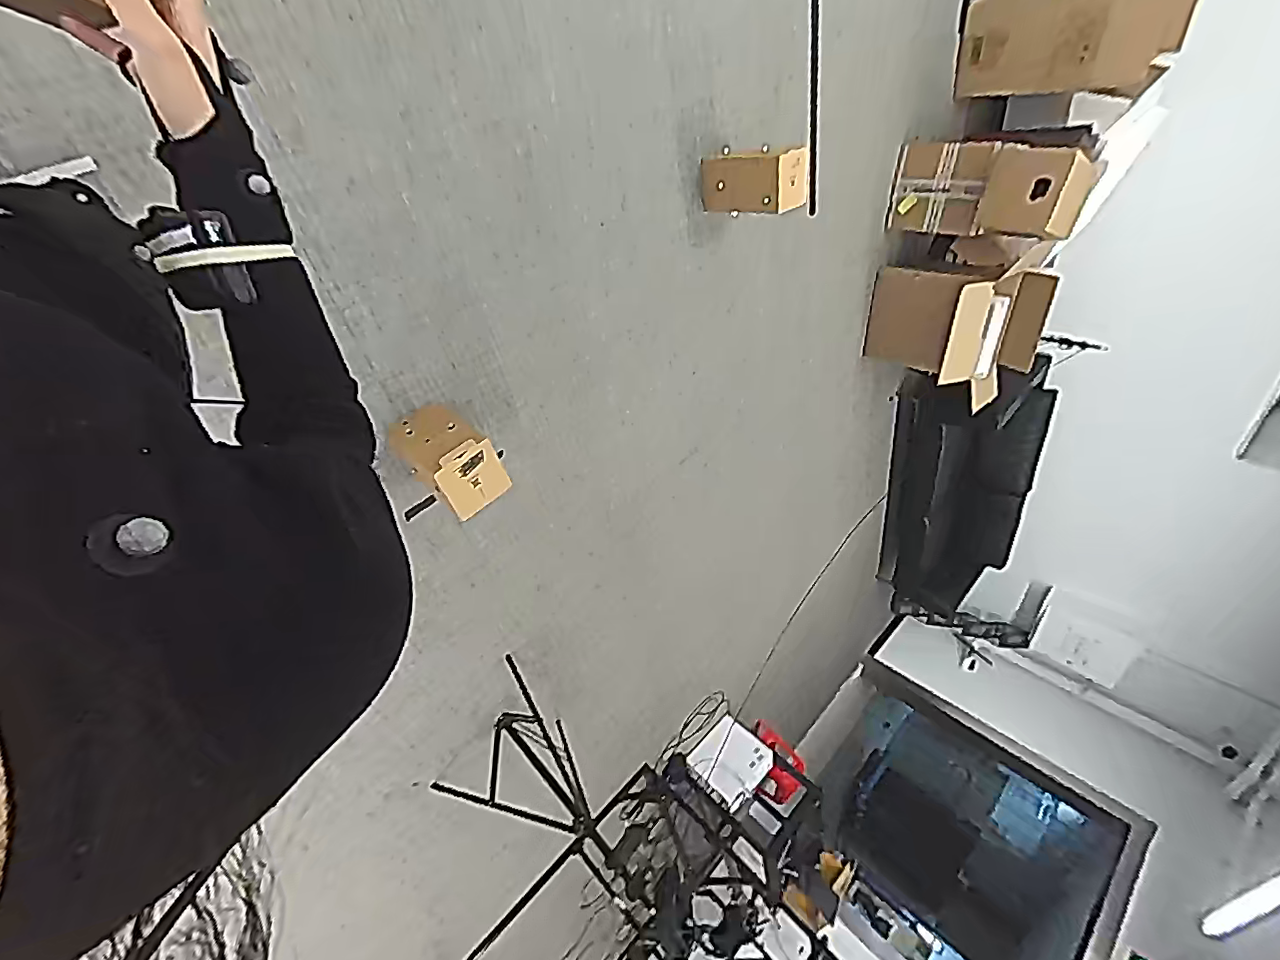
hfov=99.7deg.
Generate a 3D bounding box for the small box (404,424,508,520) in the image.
[{"bbox_3d":[-0.489,-0.031,1.432,0.168,0.176,0.179,-40,136,-24],"label":"small box"}]

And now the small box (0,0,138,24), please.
[{"bbox_3d":[-0.386,-0.375,0.271,0.168,0.176,0.179,-11,122,-52],"label":"small box"}]

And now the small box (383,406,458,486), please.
[{"bbox_3d":[-0.596,-0.093,1.540,0.168,0.176,0.179,-40,136,-23],"label":"small box"}]

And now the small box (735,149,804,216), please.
[{"bbox_3d":[0.440,-1.021,1.852,0.168,0.176,0.179,-35,132,-30],"label":"small box"}]
